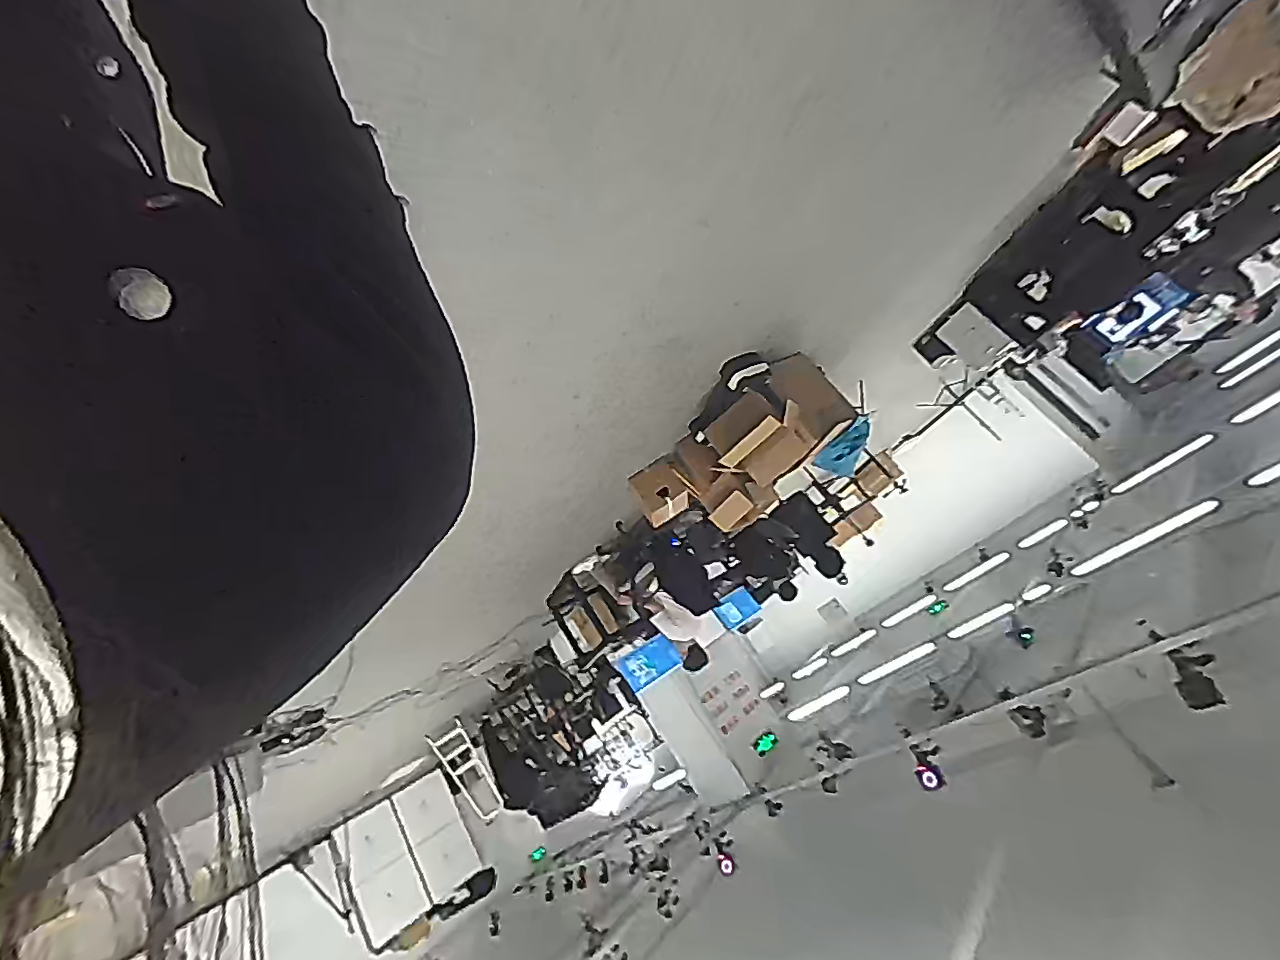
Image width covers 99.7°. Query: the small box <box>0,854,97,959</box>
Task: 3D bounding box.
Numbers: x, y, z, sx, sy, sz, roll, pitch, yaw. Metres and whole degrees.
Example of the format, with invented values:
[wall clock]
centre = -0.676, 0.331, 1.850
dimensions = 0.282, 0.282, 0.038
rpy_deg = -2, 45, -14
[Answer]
[small box]
centre = -1.630, 1.169, 1.473
dimensions = 0.179, 0.176, 0.168
rpy_deg = -16, 153, -44
